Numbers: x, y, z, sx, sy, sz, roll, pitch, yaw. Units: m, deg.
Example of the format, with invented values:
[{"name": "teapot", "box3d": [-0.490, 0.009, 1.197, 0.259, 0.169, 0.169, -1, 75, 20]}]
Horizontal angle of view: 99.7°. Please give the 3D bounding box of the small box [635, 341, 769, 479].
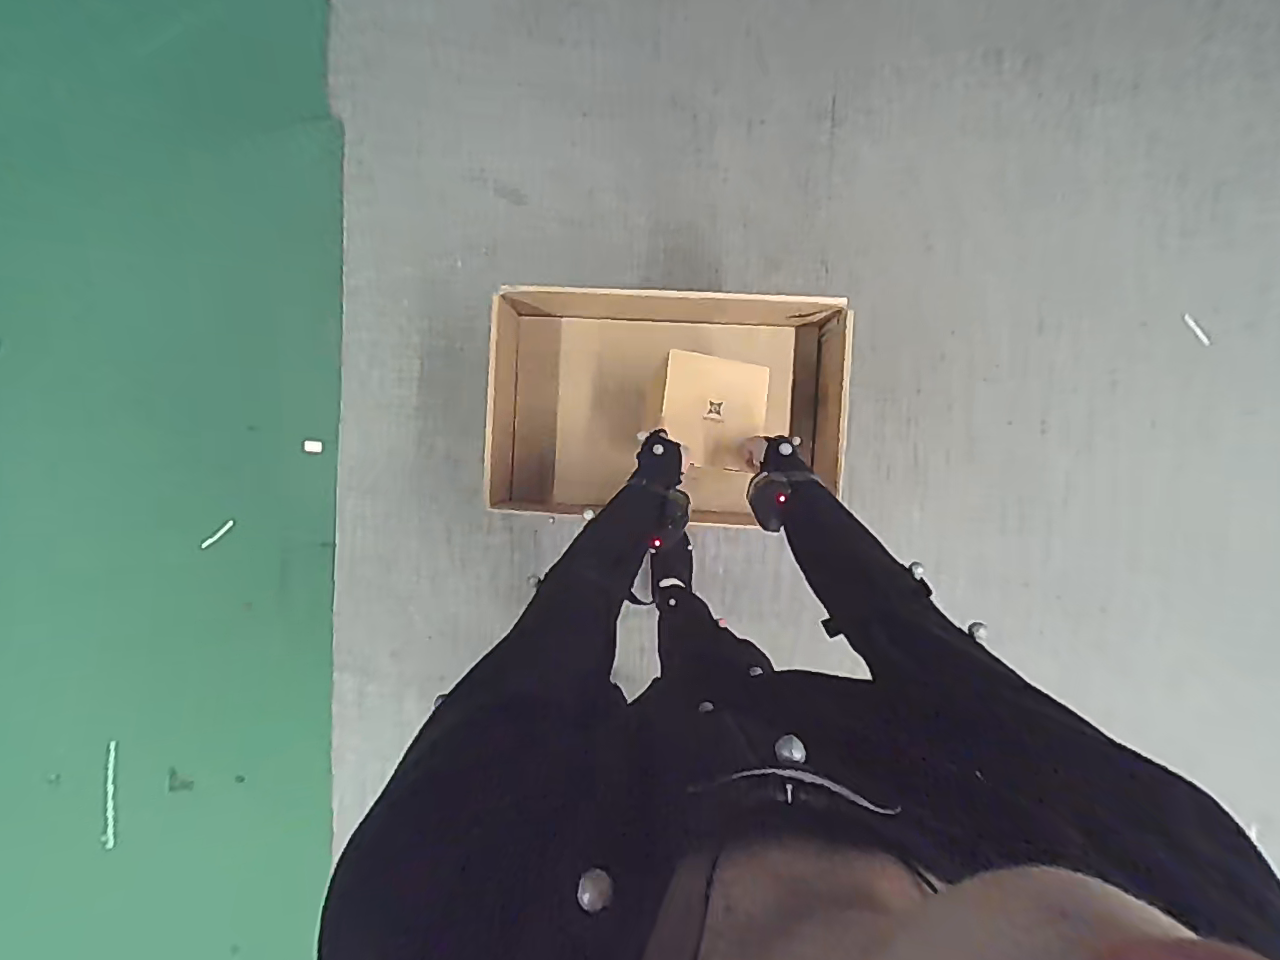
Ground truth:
[{"name": "small box", "box3d": [0.094, -0.105, 0.889, 0.168, 0.176, 0.179, 9, 84, -10]}]
